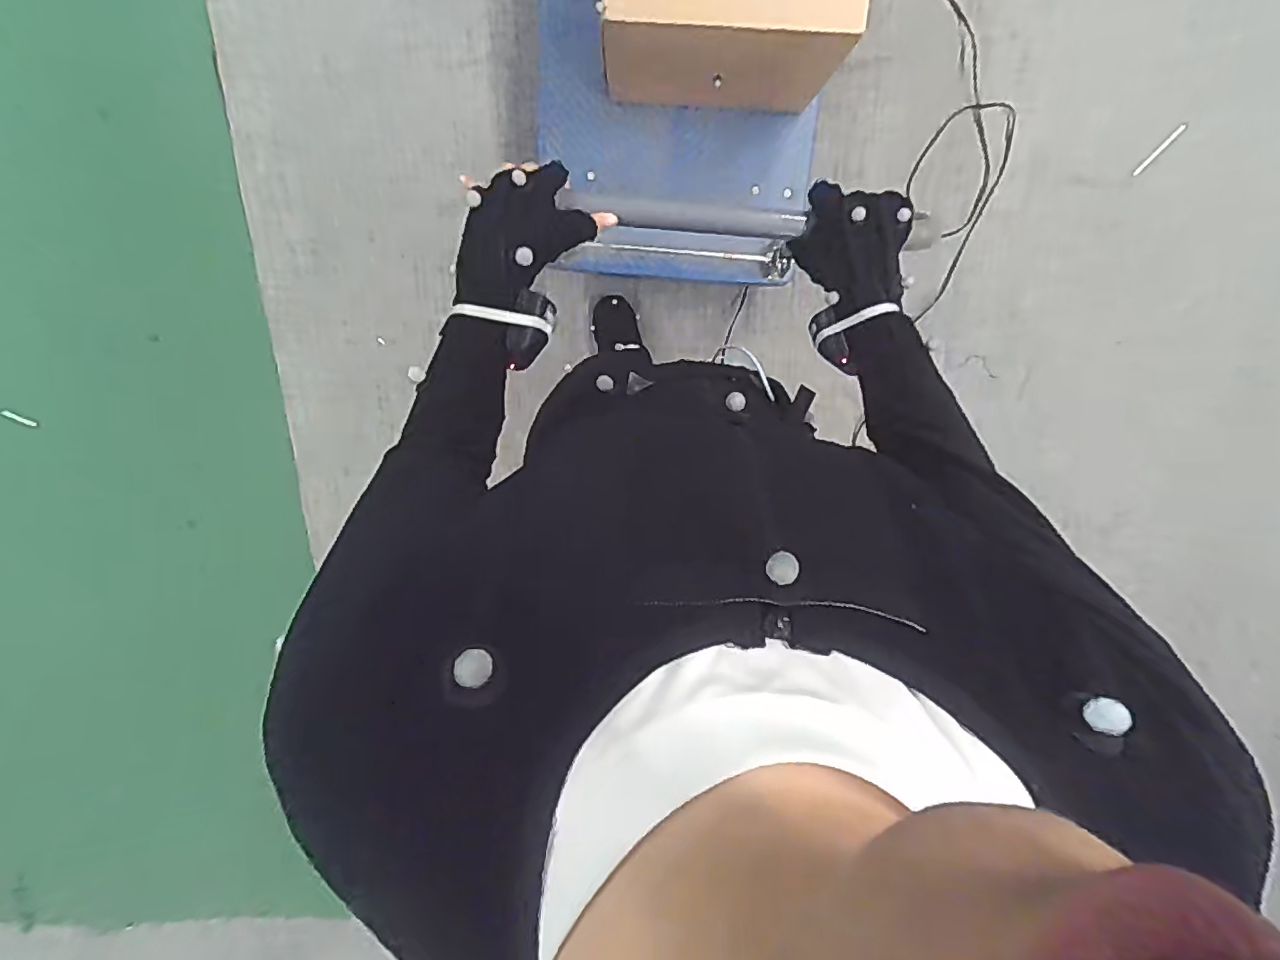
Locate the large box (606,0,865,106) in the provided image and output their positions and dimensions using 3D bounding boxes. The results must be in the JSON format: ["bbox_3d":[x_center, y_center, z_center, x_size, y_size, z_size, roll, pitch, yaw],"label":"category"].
[{"bbox_3d":[0.150,-0.880,0.939,0.408,0.320,0.320,1,105,0],"label":"large box"}]
